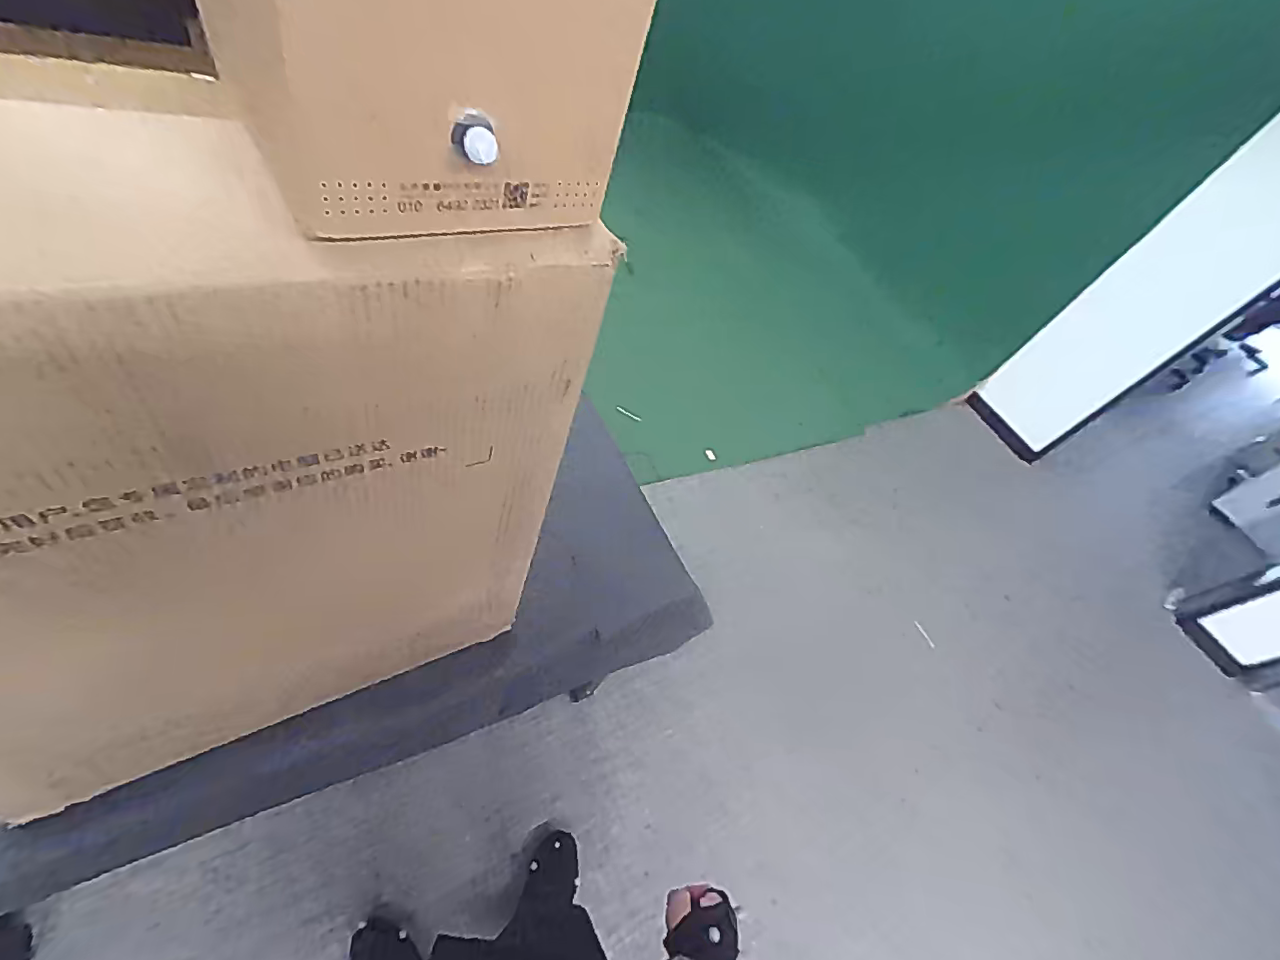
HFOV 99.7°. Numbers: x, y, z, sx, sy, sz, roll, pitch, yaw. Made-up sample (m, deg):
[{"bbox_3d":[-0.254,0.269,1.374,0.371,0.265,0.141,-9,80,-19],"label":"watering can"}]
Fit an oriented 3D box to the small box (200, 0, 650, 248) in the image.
[{"bbox_3d":[-0.118,-0.245,0.275,0.168,0.176,0.179,-22,65,-34],"label":"small box"}]
